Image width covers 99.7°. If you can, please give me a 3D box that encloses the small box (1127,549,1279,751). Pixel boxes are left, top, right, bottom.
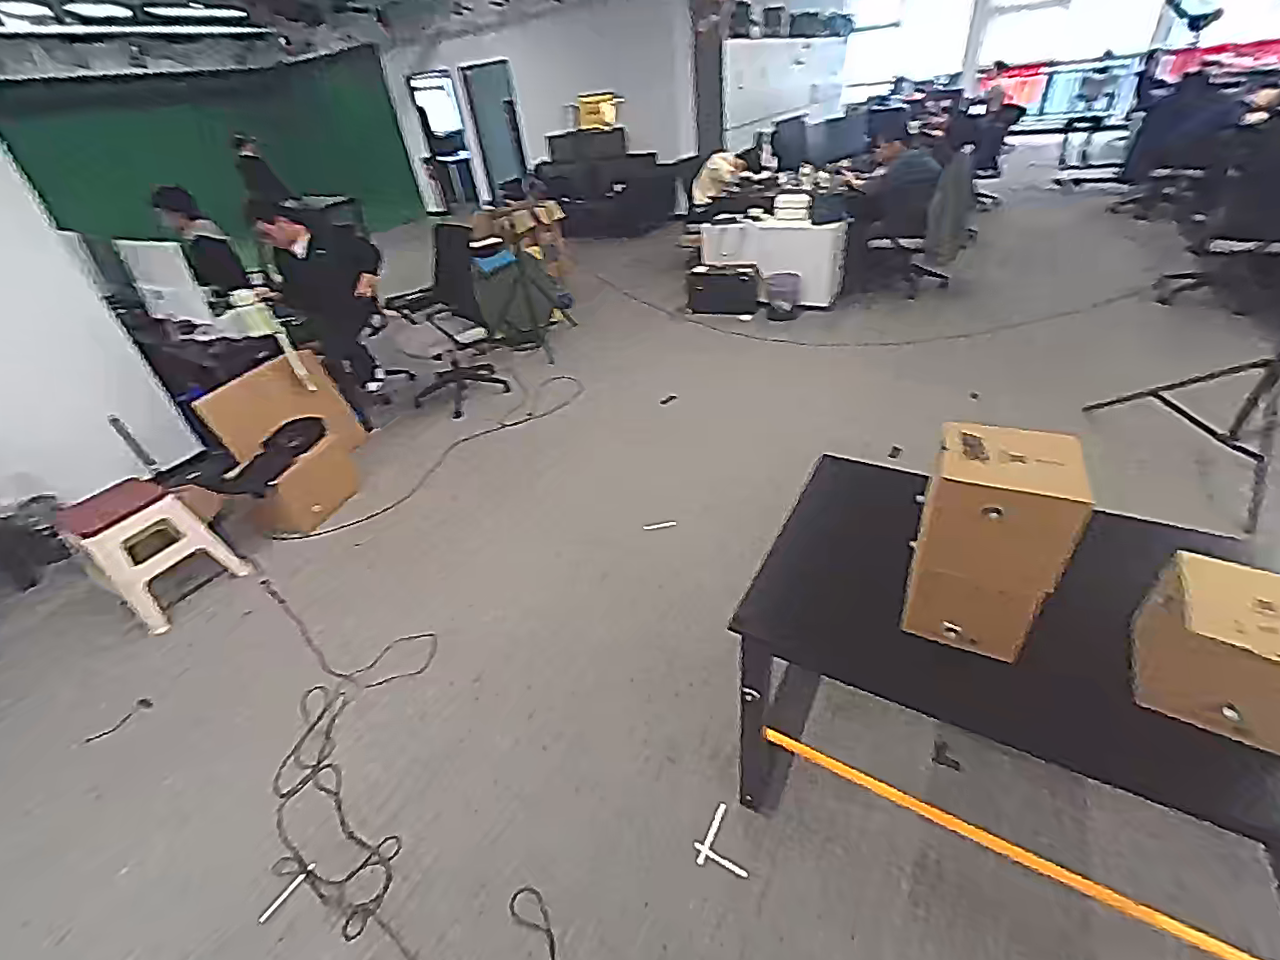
[{"bbox_3d":[0.829,0.235,0.767,0.168,0.176,0.179,17,43,31],"label":"small box"}]

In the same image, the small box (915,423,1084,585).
[{"bbox_3d":[0.529,0.034,0.819,0.179,0.176,0.168,12,40,24],"label":"small box"}]

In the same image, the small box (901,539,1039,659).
[{"bbox_3d":[0.550,0.165,0.917,0.168,0.176,0.179,11,41,25],"label":"small box"}]
